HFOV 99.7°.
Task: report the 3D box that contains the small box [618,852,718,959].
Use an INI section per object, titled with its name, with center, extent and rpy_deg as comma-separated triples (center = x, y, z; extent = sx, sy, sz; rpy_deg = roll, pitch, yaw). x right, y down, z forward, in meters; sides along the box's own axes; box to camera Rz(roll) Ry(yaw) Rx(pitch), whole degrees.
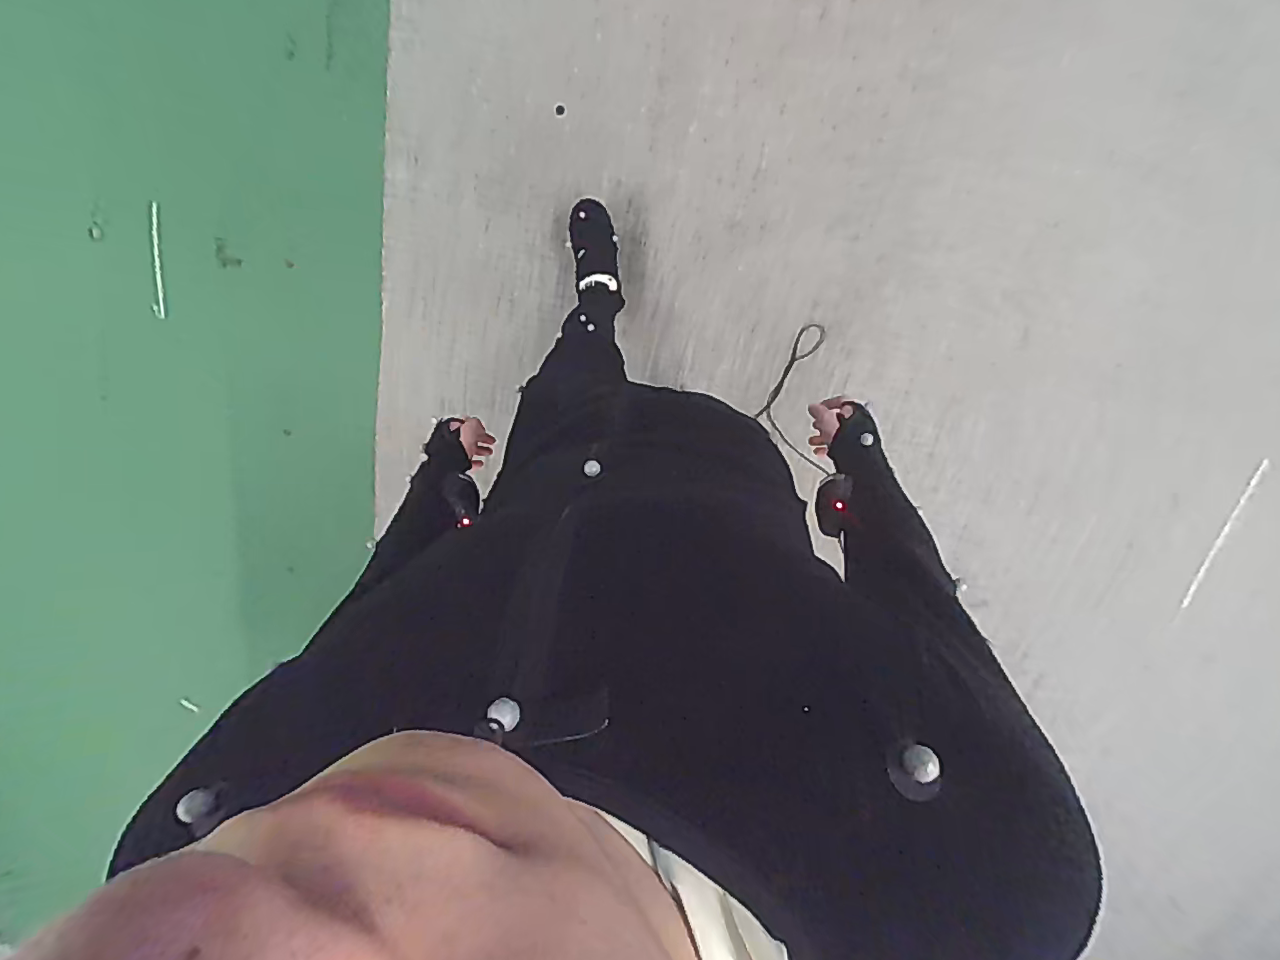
[small box]
center = 0.053, 0.892, 1.073
extent = 0.168, 0.176, 0.179
rpy_deg = 12, 108, 0
